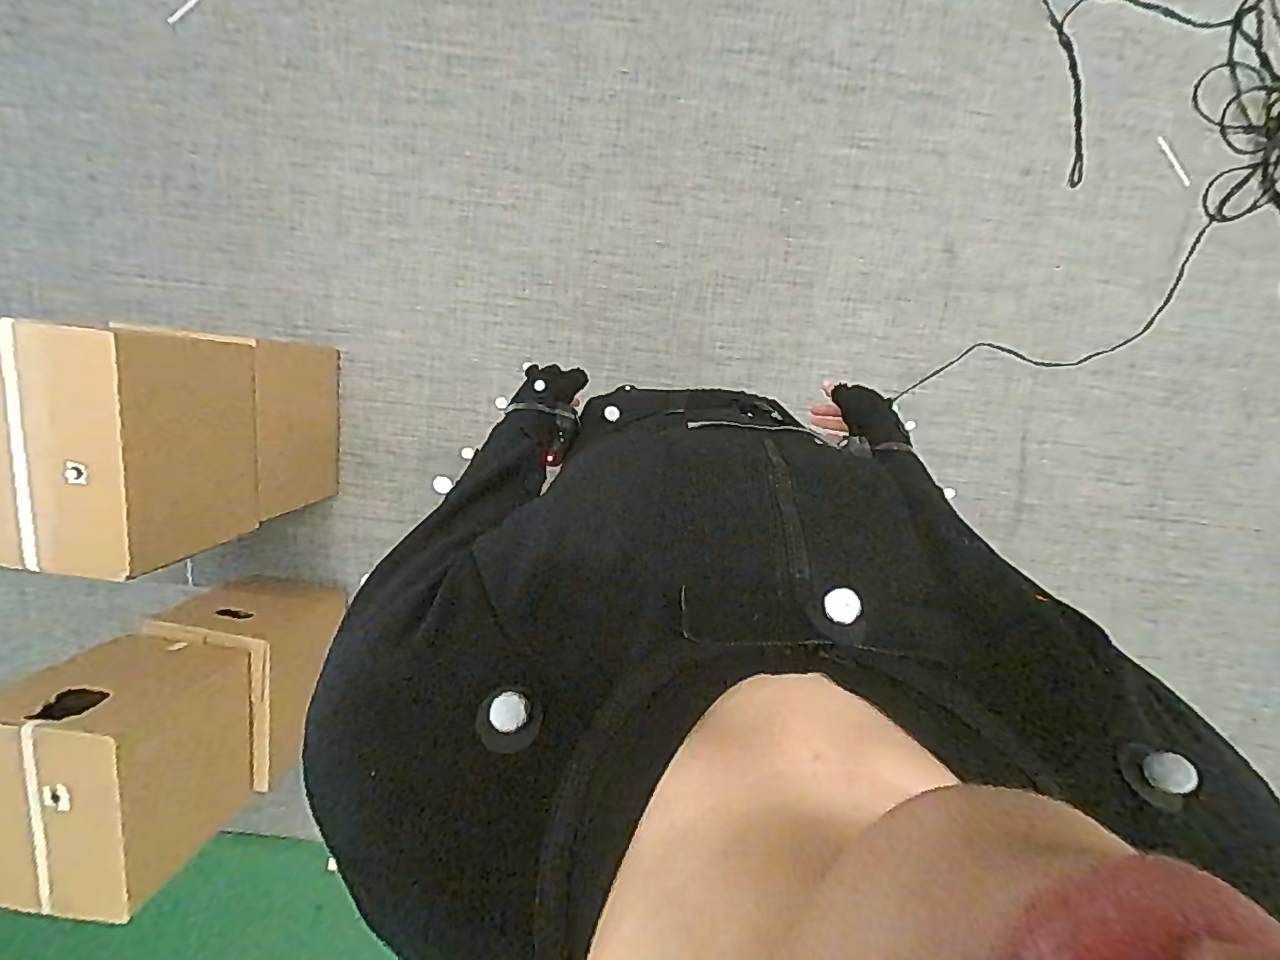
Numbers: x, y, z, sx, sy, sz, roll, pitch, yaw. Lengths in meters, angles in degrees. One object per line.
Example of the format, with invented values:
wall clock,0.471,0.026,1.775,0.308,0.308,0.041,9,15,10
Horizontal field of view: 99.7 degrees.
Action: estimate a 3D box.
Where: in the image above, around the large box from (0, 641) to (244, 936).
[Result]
large box,-1.080,0.603,1.118,0.320,0.320,0.408,8,99,3
